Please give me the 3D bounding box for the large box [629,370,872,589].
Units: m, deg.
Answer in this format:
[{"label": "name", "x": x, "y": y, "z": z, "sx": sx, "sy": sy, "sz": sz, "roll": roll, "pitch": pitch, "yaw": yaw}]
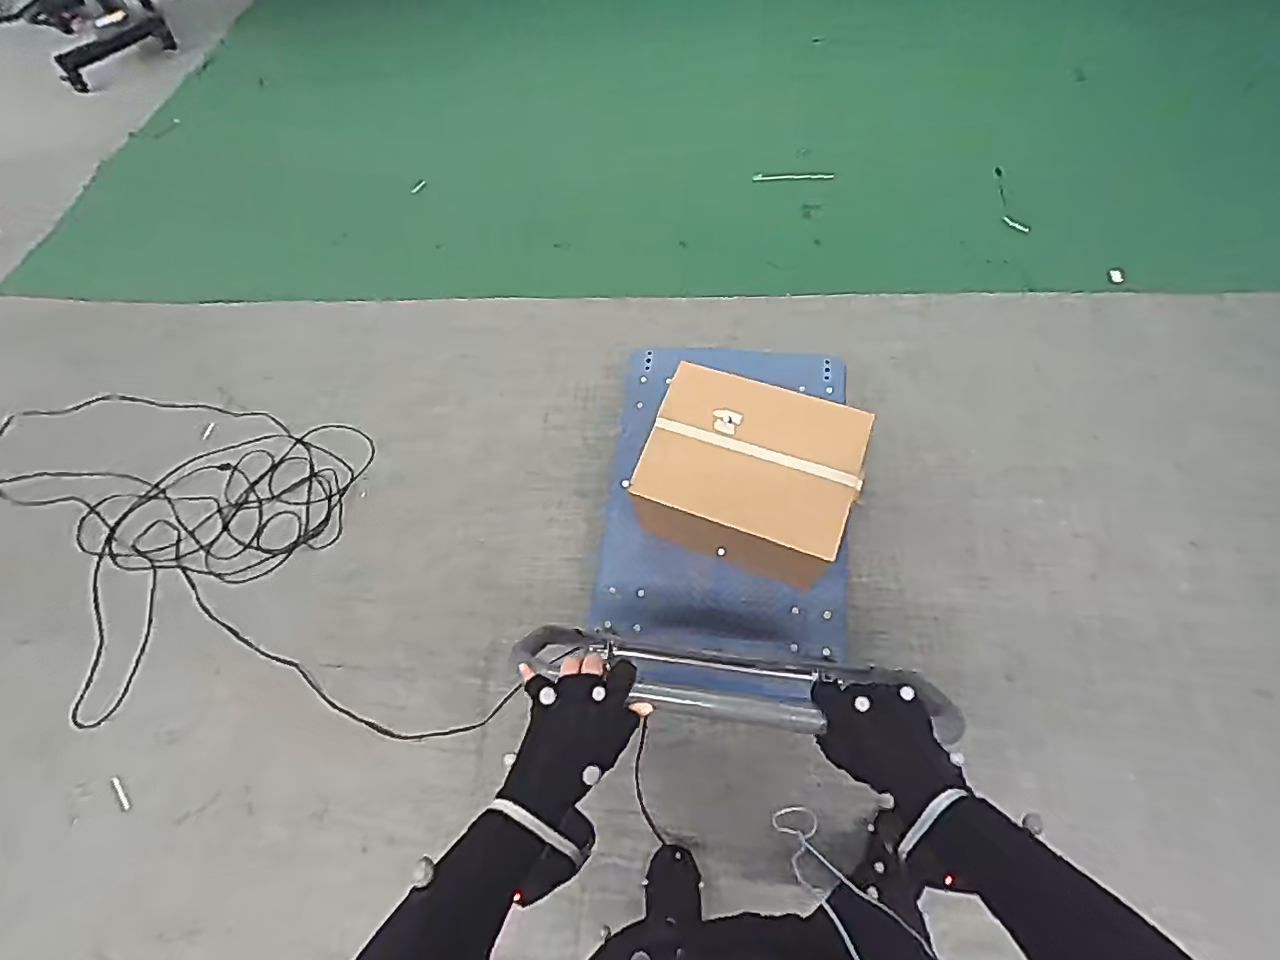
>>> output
[{"label": "large box", "x": 0.235, "y": 0.011, "z": 1.186, "sx": 0.408, "sy": 0.320, "sz": 0.320, "roll": 19, "pitch": 72, "yaw": 14}]
